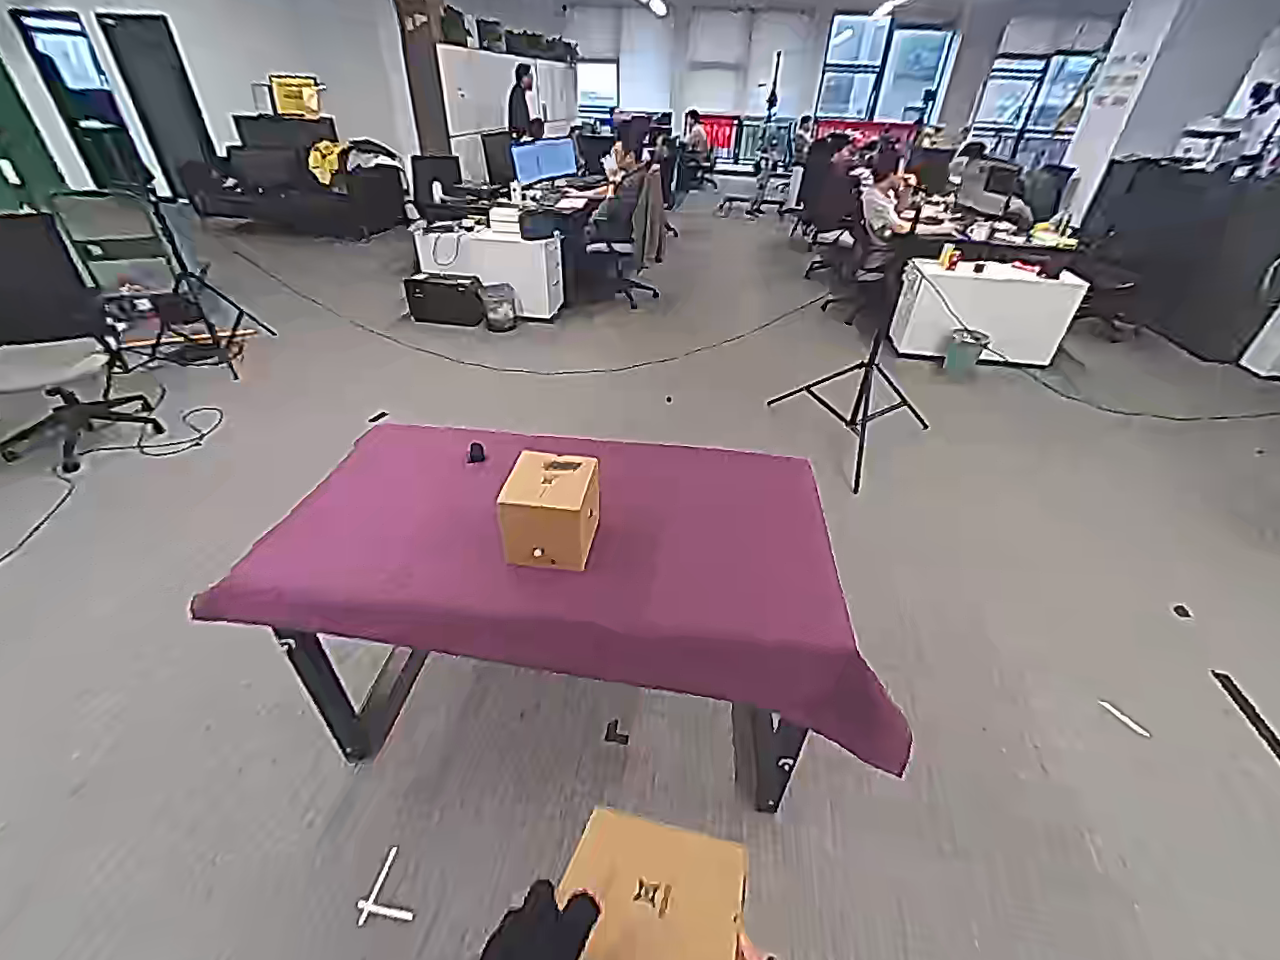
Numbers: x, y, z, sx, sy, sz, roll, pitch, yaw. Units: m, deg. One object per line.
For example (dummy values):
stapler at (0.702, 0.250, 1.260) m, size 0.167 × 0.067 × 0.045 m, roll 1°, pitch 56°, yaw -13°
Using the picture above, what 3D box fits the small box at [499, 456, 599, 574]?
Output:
small box at (-0.182, 0.072, 1.137) m, size 0.168 × 0.176 × 0.179 m, roll 5°, pitch 36°, yaw 5°
